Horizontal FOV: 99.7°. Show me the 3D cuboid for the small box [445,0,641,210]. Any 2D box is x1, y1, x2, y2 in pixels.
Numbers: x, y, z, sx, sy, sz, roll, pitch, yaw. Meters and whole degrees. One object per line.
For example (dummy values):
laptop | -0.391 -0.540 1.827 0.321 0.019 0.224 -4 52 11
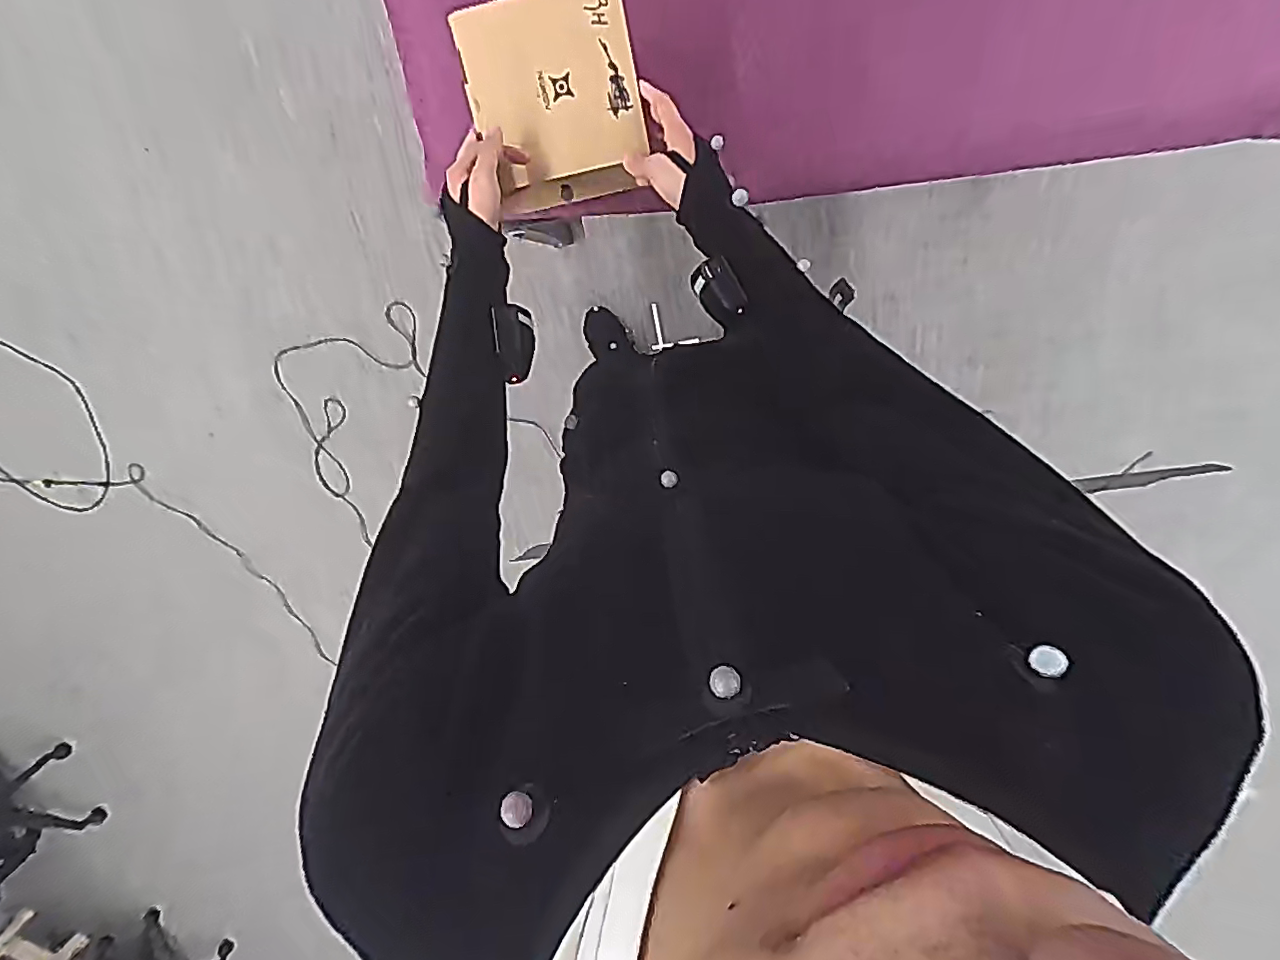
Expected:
small box | -0.098 -0.433 0.637 0.179 0.176 0.168 -12 109 2
